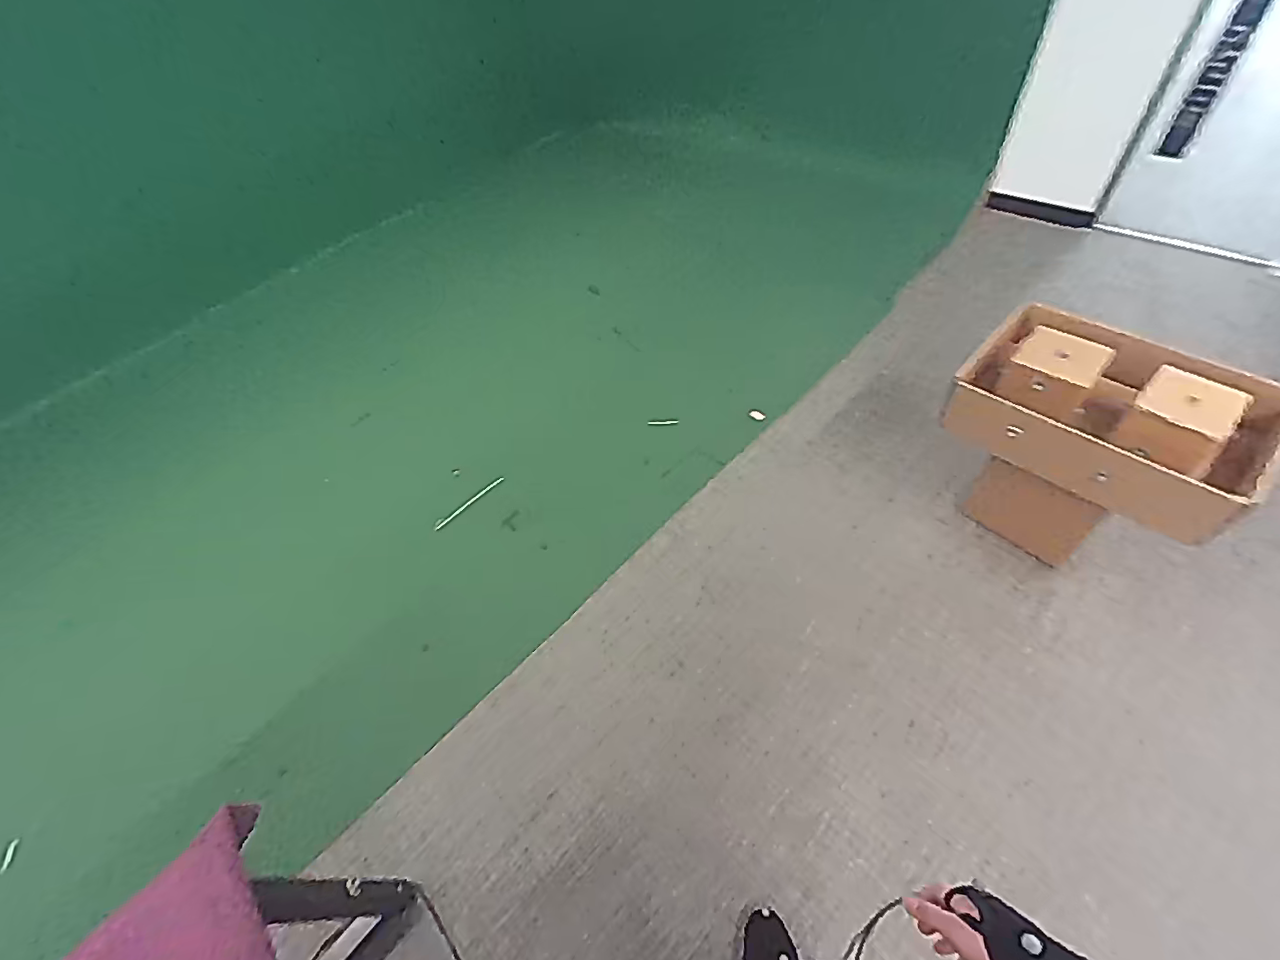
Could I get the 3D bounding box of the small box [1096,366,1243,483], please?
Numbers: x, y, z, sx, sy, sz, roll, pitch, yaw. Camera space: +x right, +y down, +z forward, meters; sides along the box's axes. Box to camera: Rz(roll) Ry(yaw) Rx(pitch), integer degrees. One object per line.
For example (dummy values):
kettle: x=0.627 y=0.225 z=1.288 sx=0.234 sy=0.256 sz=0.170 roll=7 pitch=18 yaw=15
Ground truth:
small box: x=1.232 y=-0.128 z=1.273 sx=0.179 sy=0.176 sz=0.168 roll=-40 pitch=58 yaw=-19

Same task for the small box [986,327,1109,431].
small box: x=1.045 y=-0.259 z=1.405 sx=0.168 sy=0.176 sz=0.179 roll=-42 pitch=59 yaw=-20
